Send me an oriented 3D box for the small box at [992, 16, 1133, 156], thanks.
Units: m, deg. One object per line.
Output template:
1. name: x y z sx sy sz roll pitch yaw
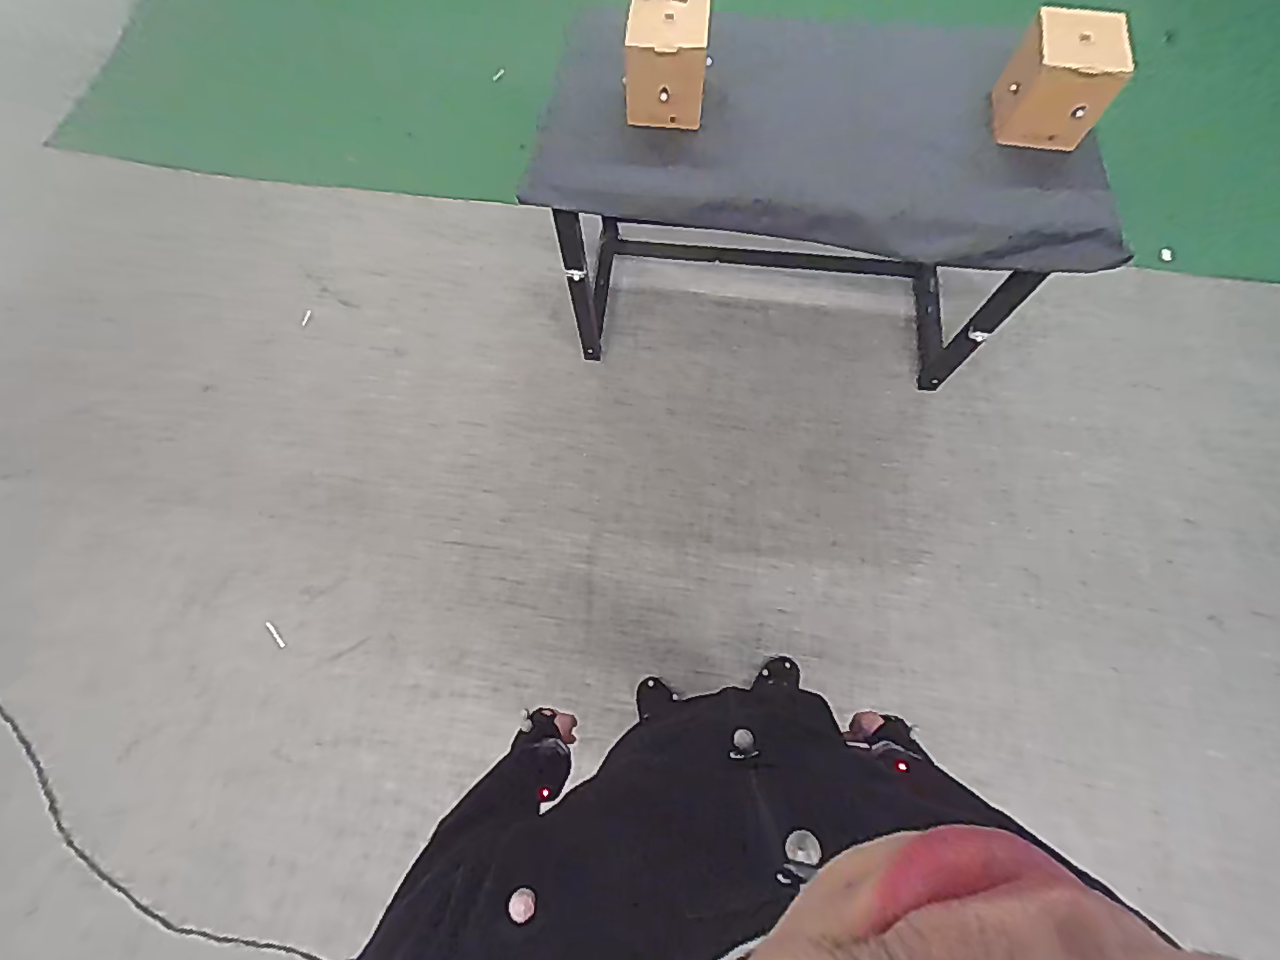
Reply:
1. small box: 0.870 -0.815 1.131 0.168 0.176 0.179 10 69 4

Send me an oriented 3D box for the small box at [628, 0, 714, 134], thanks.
1. small box: 0.067 -0.893 1.179 0.168 0.176 0.179 5 71 2
